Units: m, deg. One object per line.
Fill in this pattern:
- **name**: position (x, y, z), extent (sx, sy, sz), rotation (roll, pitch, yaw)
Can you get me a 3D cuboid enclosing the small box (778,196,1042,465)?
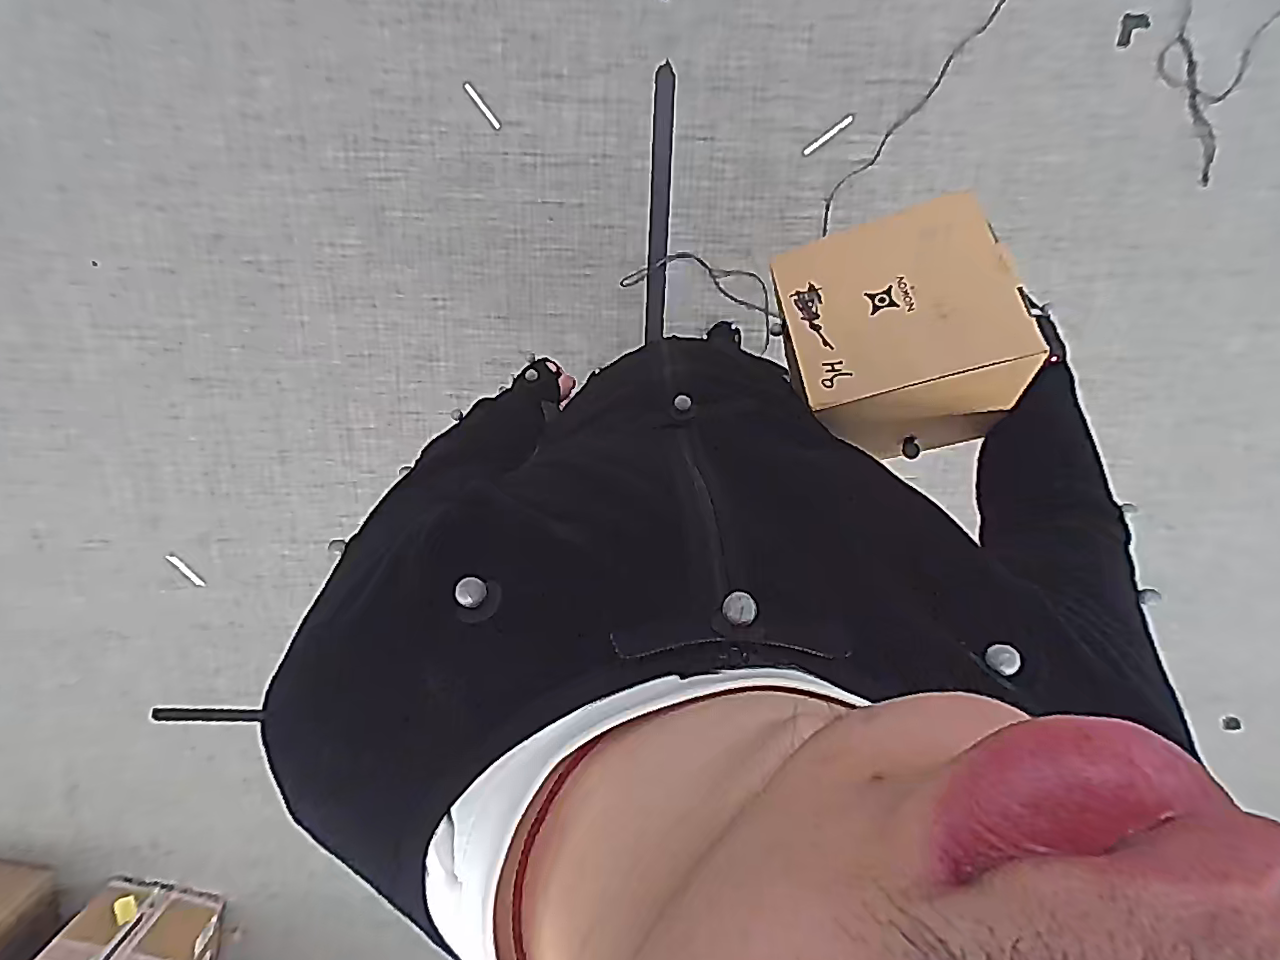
- **small box**: position (0.246, -0.131, 0.537), extent (0.179, 0.176, 0.168), rotation (-14, 67, 15)
